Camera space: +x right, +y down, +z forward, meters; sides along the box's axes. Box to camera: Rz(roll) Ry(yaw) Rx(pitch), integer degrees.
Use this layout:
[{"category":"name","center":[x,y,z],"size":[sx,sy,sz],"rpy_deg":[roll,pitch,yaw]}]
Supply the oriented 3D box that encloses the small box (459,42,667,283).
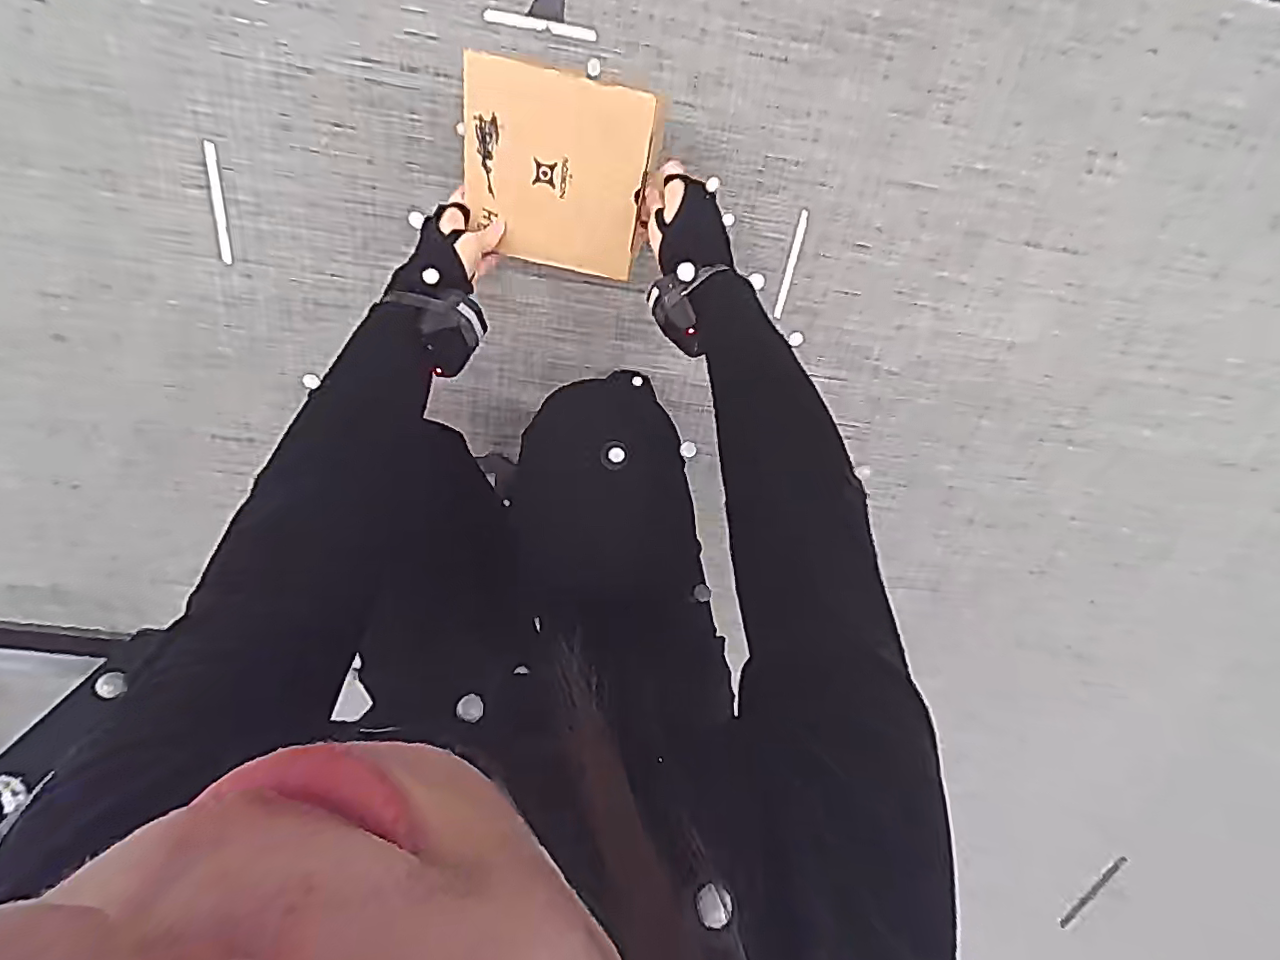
[{"category":"small box","center":[-0.073,-0.329,0.558],"size":[0.179,0.176,0.168],"rpy_deg":[12,128,-3]}]
